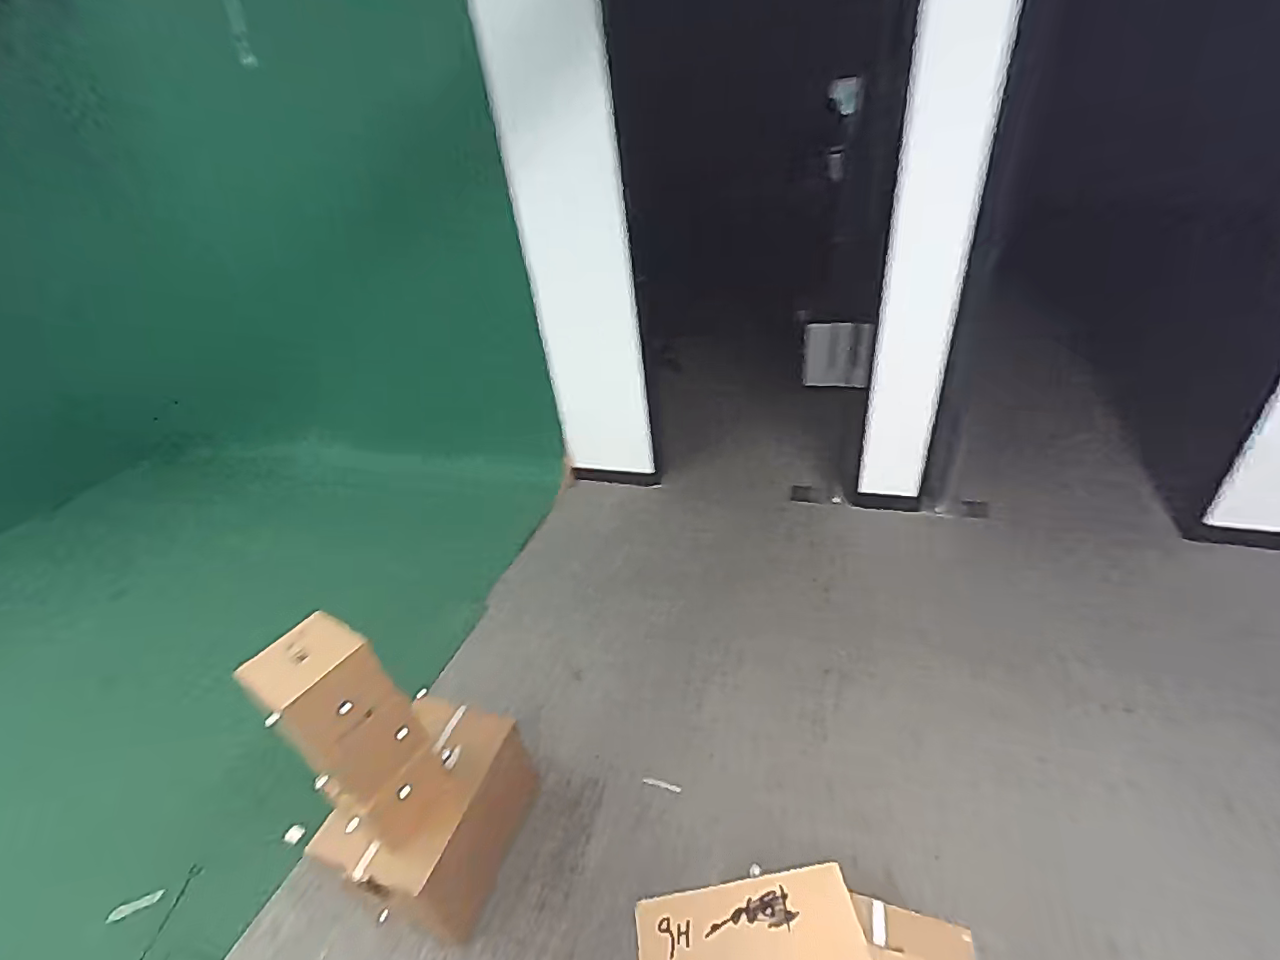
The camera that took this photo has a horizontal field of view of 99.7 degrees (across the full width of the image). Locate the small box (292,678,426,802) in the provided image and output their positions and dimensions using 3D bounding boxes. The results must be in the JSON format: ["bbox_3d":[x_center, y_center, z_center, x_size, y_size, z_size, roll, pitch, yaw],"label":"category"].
[{"bbox_3d":[-0.576,0.522,1.133,0.168,0.176,0.179,13,40,31],"label":"small box"}]

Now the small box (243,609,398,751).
[{"bbox_3d":[-0.605,0.387,1.044,0.179,0.176,0.168,14,39,31],"label":"small box"}]

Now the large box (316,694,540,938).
[{"bbox_3d":[-0.506,0.837,1.383,0.320,0.320,0.408,5,34,18],"label":"large box"}]

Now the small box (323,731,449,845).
[{"bbox_3d":[-0.555,0.663,1.213,0.168,0.176,0.179,12,38,28],"label":"small box"}]

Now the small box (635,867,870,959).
[{"bbox_3d":[0.097,0.432,0.408,0.168,0.176,0.179,-10,39,-3],"label":"small box"}]
